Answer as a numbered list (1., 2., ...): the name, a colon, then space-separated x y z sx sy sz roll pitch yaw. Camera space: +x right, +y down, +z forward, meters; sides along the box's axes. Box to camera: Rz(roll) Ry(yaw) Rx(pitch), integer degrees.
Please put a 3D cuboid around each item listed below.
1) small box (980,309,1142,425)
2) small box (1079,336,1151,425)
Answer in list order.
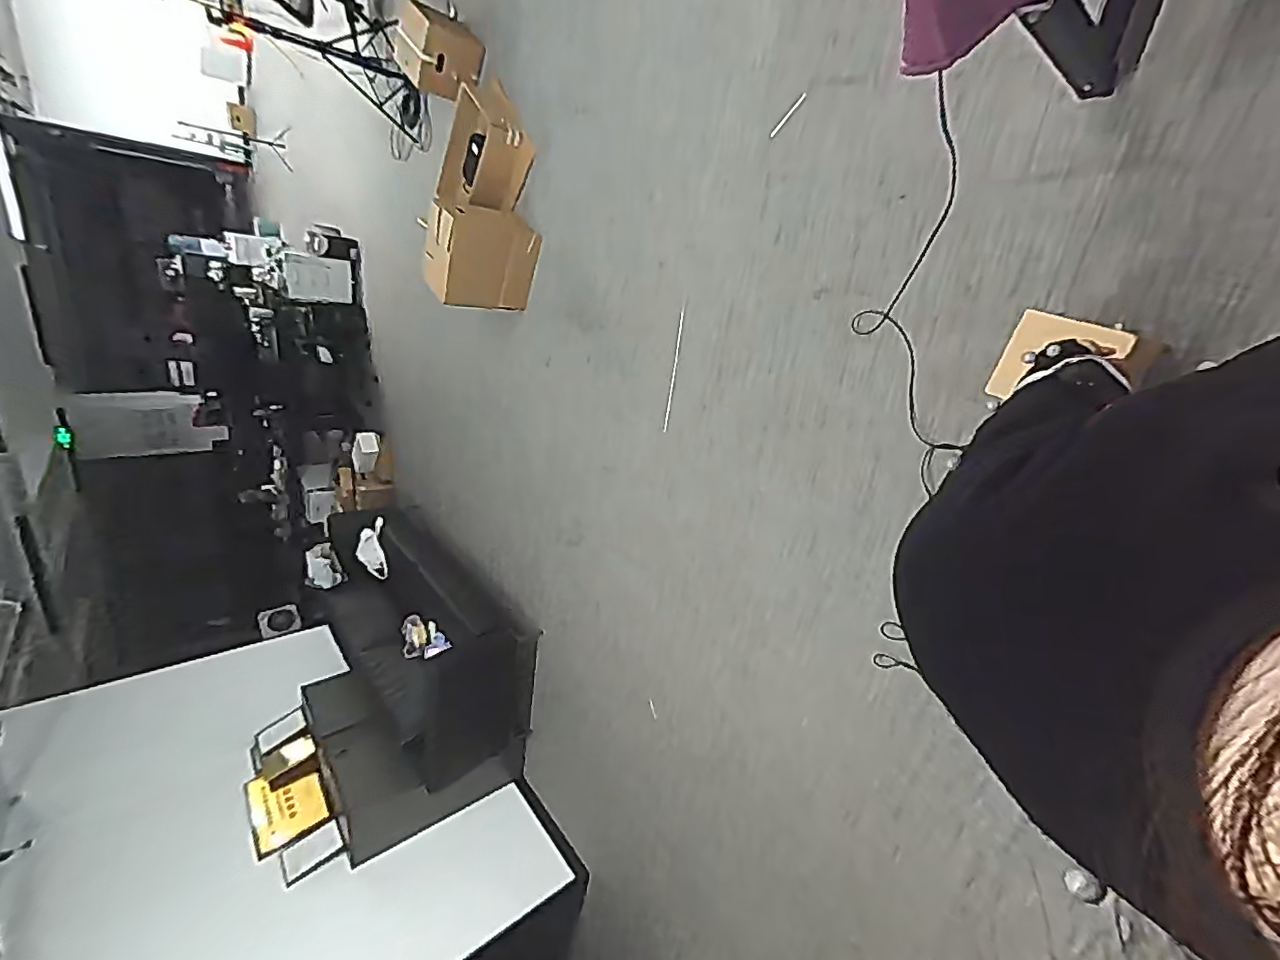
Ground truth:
1. small box: 0.803 -0.216 1.034 0.179 0.176 0.168 37 124 38
2. small box: 0.930 -0.228 1.139 0.168 0.176 0.179 33 120 40
